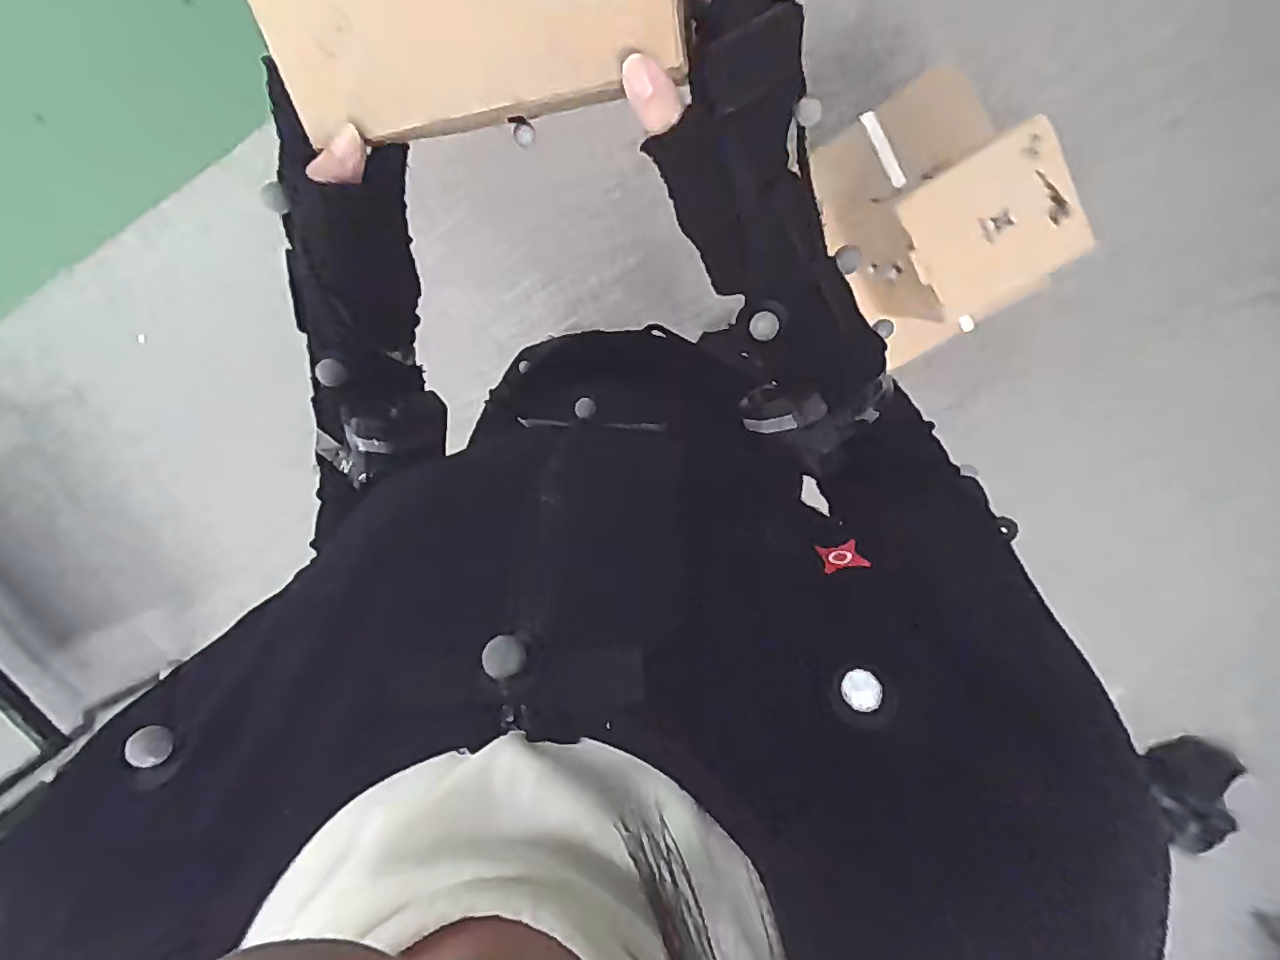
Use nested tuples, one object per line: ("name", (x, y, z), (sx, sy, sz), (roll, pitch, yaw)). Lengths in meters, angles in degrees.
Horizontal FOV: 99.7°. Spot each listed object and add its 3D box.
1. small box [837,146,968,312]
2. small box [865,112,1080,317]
("small box", (0.444, -0.394, 0.877), (0.168, 0.176, 0.179), (-28, 106, 16))
("small box", (0.423, -0.338, 0.724), (0.179, 0.176, 0.168), (-28, 104, 16))
